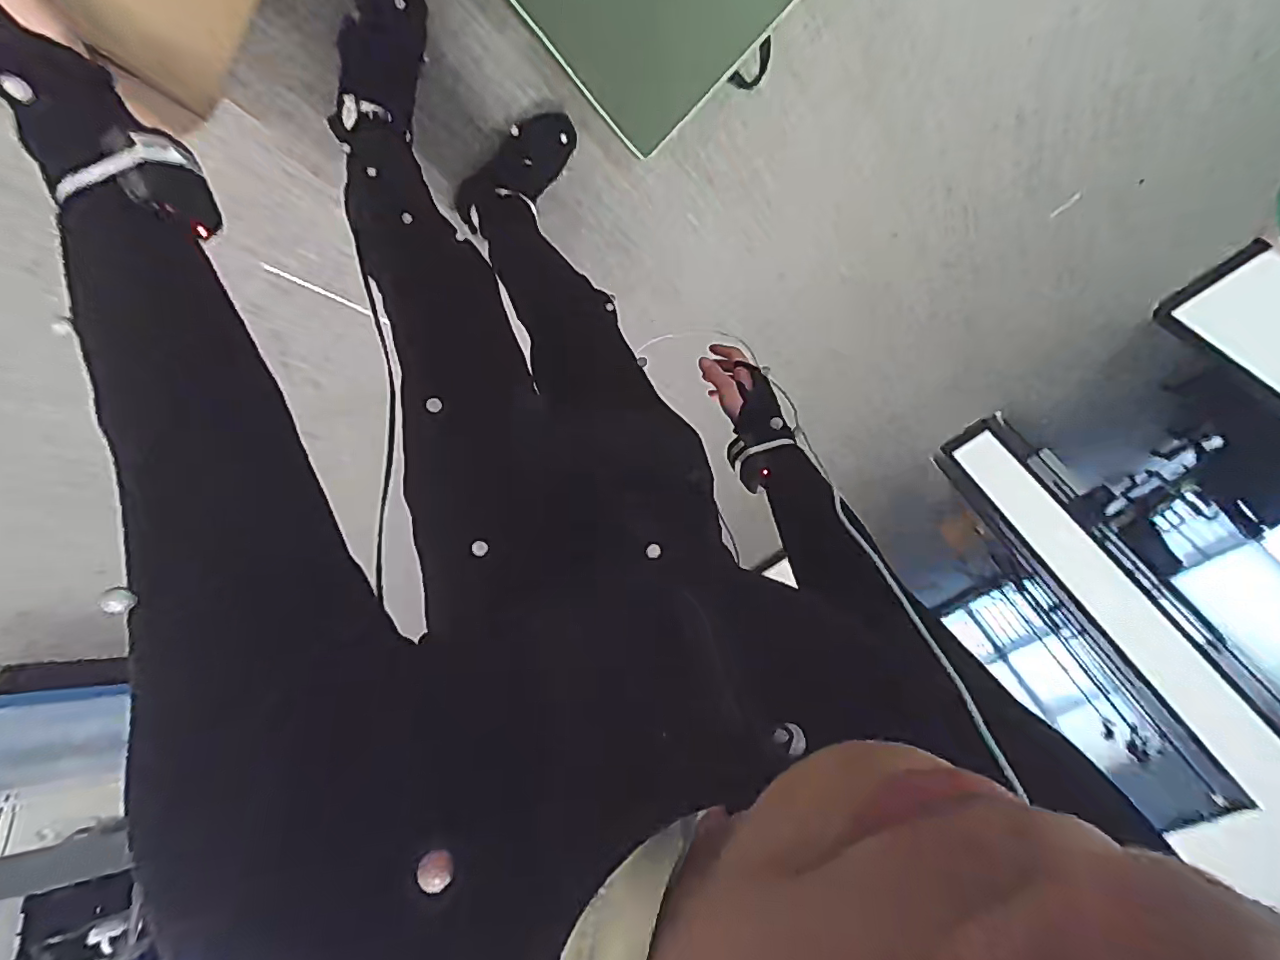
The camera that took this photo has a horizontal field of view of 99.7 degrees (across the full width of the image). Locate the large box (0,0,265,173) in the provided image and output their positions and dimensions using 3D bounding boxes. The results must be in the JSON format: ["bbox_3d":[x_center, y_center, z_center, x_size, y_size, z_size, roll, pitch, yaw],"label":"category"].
[{"bbox_3d":[-0.527,-0.569,0.473,0.320,0.320,0.408,21,85,-52],"label":"large box"}]
